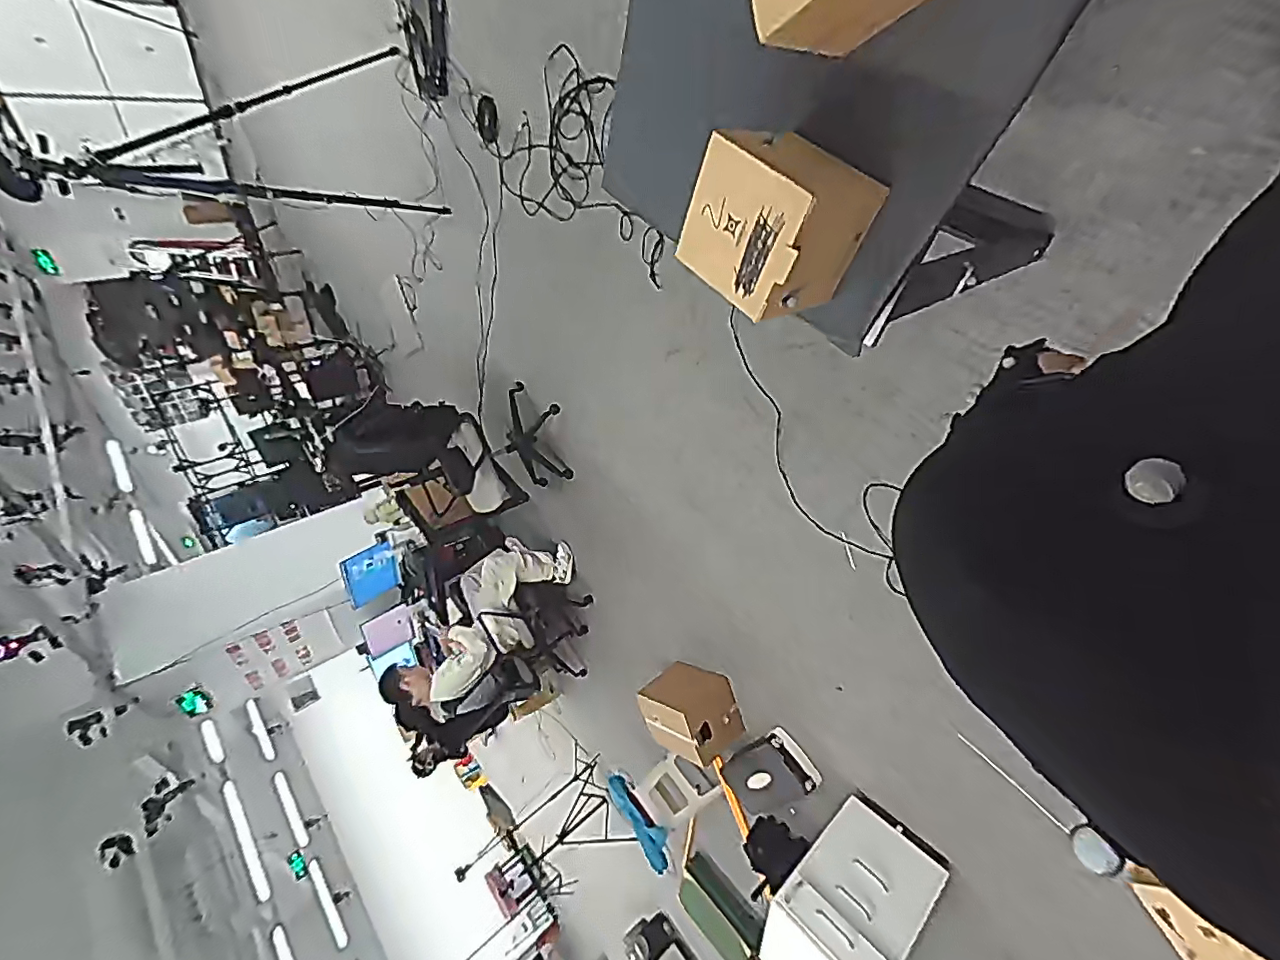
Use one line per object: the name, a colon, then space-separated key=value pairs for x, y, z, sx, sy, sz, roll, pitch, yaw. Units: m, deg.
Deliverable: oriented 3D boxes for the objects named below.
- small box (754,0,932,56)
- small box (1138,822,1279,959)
small box: x=0.223 y=-0.570 z=0.543 sx=0.179 sy=0.176 sz=0.168 roll=0 pitch=111 yaw=53
small box: x=1.096 y=0.774 z=1.011 sx=0.168 sy=0.176 sz=0.179 roll=58 pitch=143 yaw=10
